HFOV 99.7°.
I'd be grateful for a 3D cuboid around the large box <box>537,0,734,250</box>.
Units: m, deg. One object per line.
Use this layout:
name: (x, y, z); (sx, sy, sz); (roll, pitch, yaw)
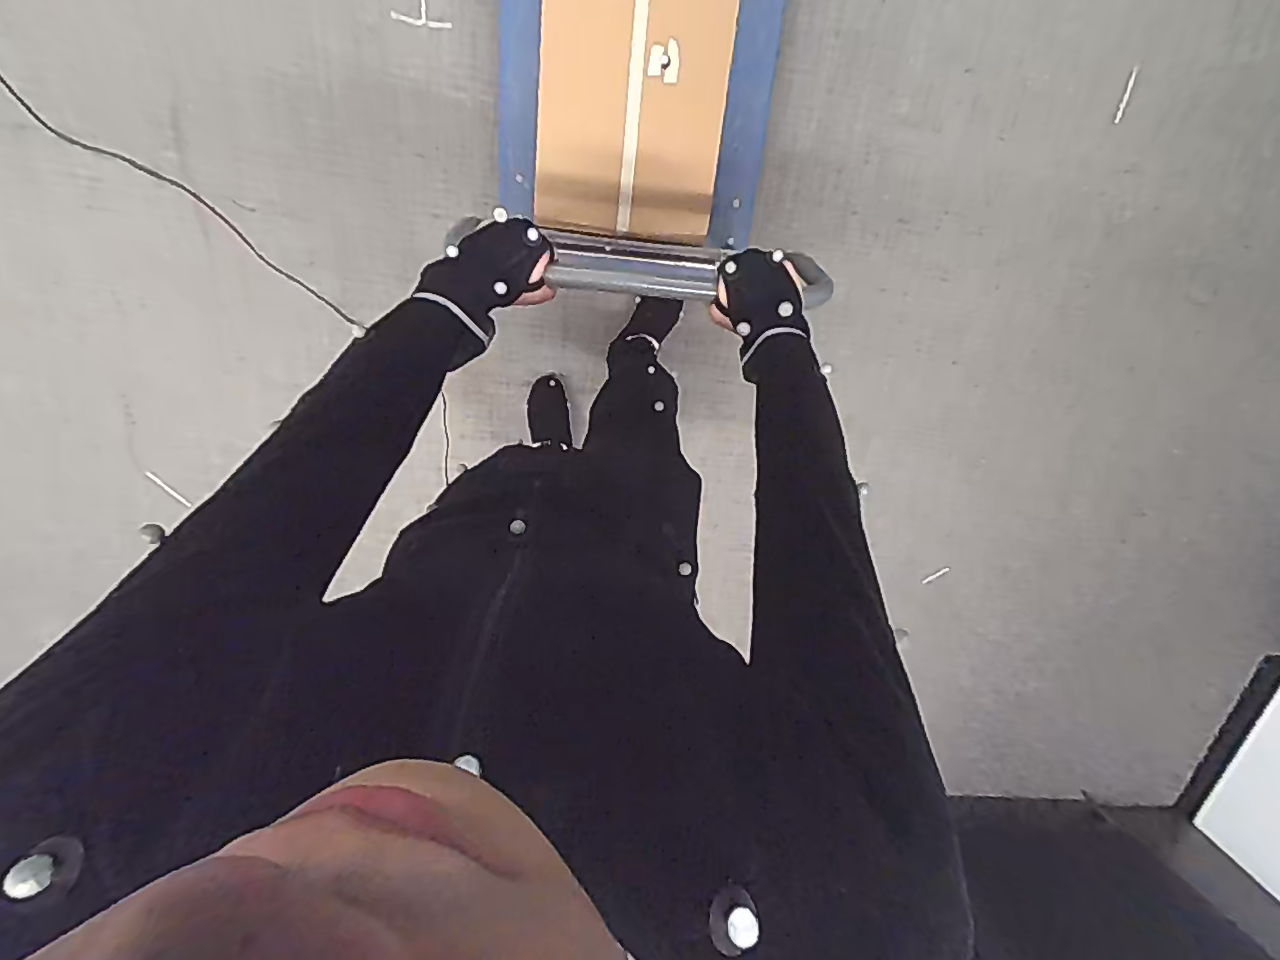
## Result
large box: (-0.022, -0.688, 1.058); (0.320, 0.320, 0.408); (4, 109, -6)
